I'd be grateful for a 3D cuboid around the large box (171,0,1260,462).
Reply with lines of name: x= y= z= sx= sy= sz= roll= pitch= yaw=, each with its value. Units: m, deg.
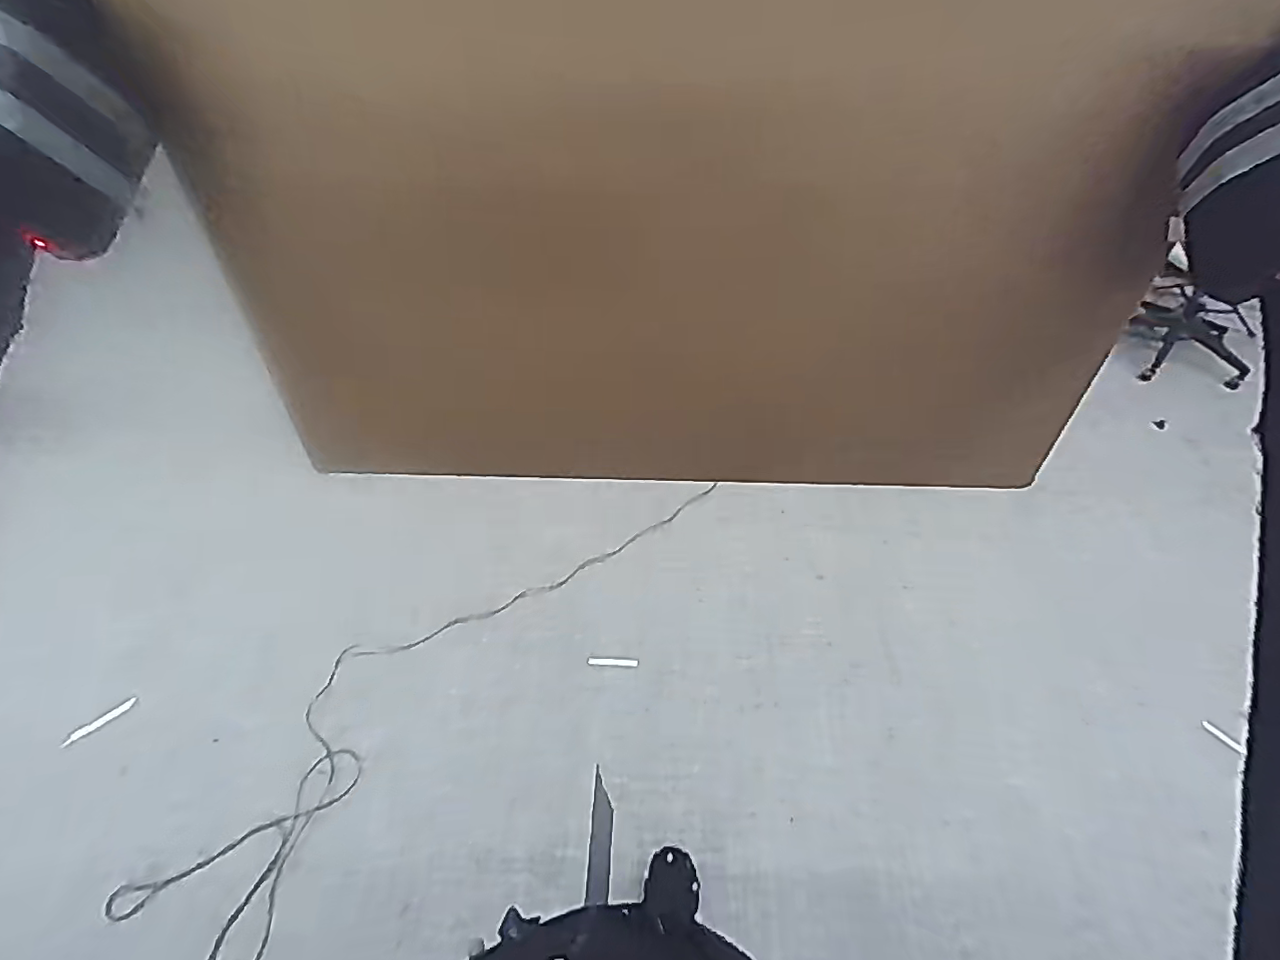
large box: x=0.025 y=-0.221 z=0.342 sx=0.408 sy=0.320 sz=0.320 roll=2 pitch=39 yaw=-1
